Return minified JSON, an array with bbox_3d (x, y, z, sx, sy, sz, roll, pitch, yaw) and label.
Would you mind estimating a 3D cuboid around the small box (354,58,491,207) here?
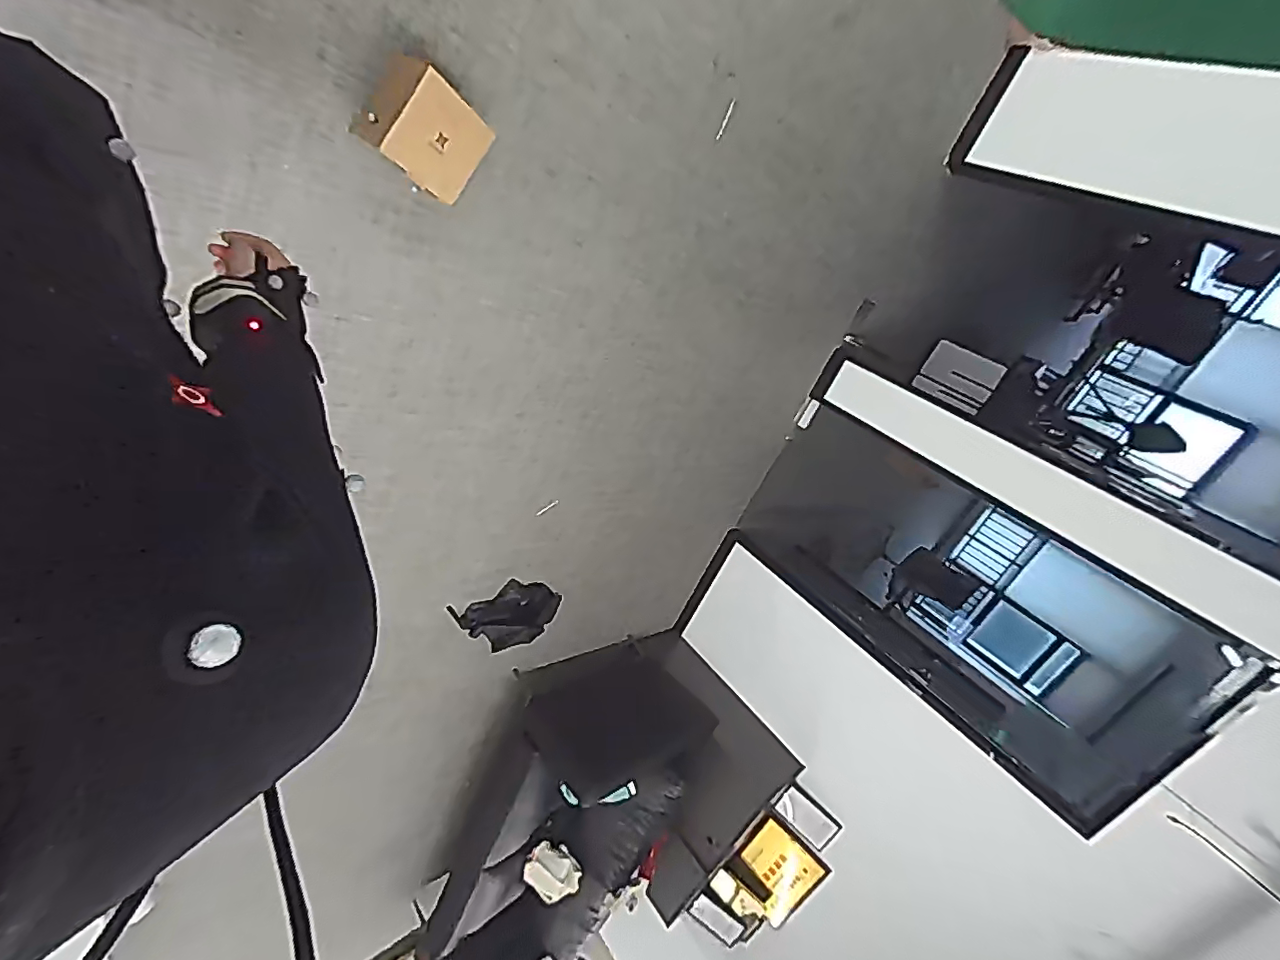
[{"bbox_3d":[-0.439,-0.692,1.078,0.179,0.176,0.168,-55,147,8],"label":"small box"}]
